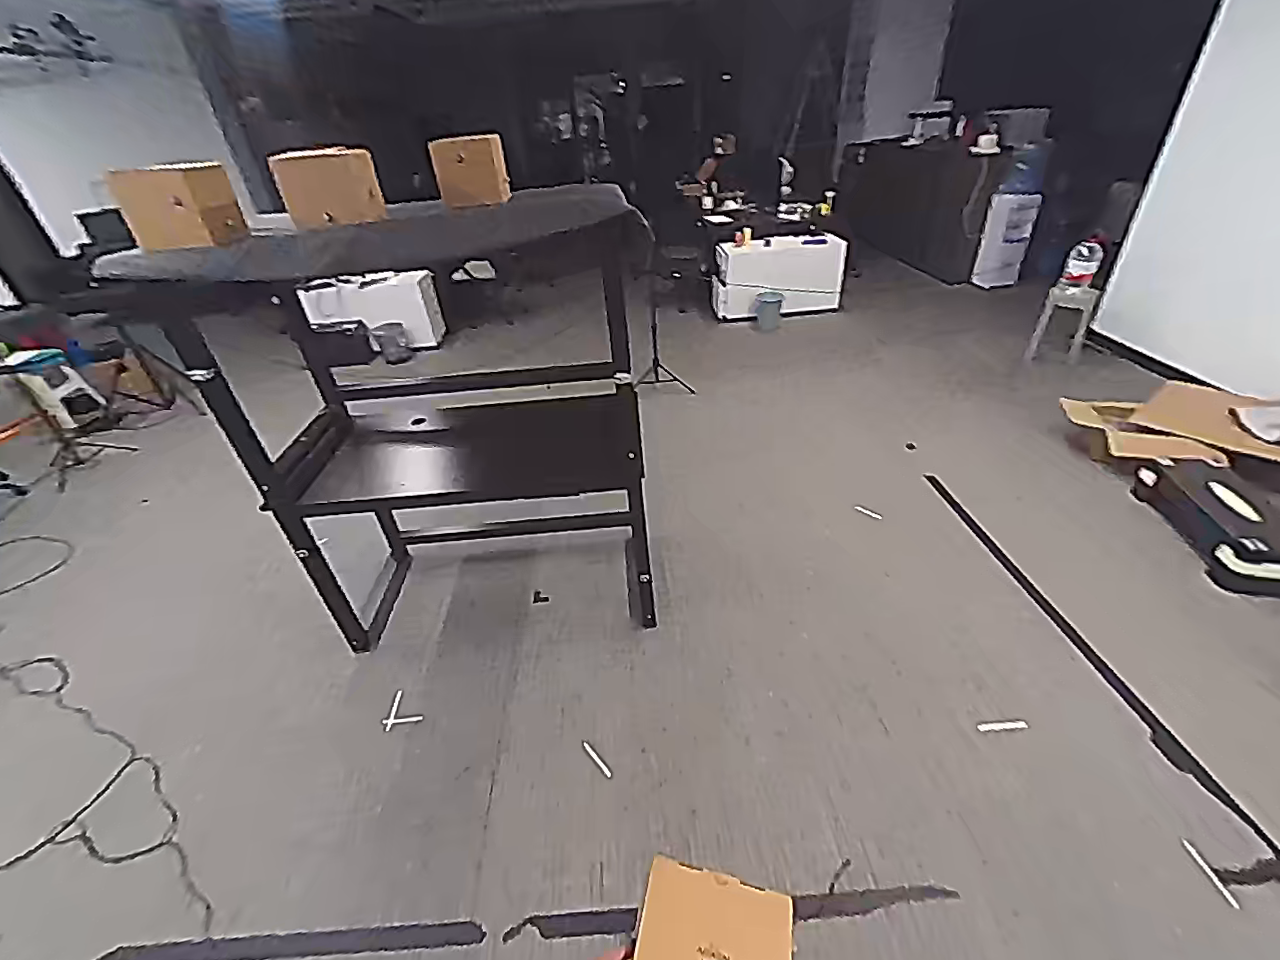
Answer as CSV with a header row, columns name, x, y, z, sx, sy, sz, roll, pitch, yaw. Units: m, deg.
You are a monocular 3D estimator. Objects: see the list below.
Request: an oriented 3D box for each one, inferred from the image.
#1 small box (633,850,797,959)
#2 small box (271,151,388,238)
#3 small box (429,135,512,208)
name,x,y,z,sx,sy,sz,roll,pitch,yaw
small box,0.073,0.561,0.601,0.168,0.176,0.179,11,38,8
small box,-0.753,-0.708,1.338,0.179,0.176,0.168,-5,33,-1
small box,-0.494,-0.913,1.601,0.179,0.176,0.168,-5,35,0
